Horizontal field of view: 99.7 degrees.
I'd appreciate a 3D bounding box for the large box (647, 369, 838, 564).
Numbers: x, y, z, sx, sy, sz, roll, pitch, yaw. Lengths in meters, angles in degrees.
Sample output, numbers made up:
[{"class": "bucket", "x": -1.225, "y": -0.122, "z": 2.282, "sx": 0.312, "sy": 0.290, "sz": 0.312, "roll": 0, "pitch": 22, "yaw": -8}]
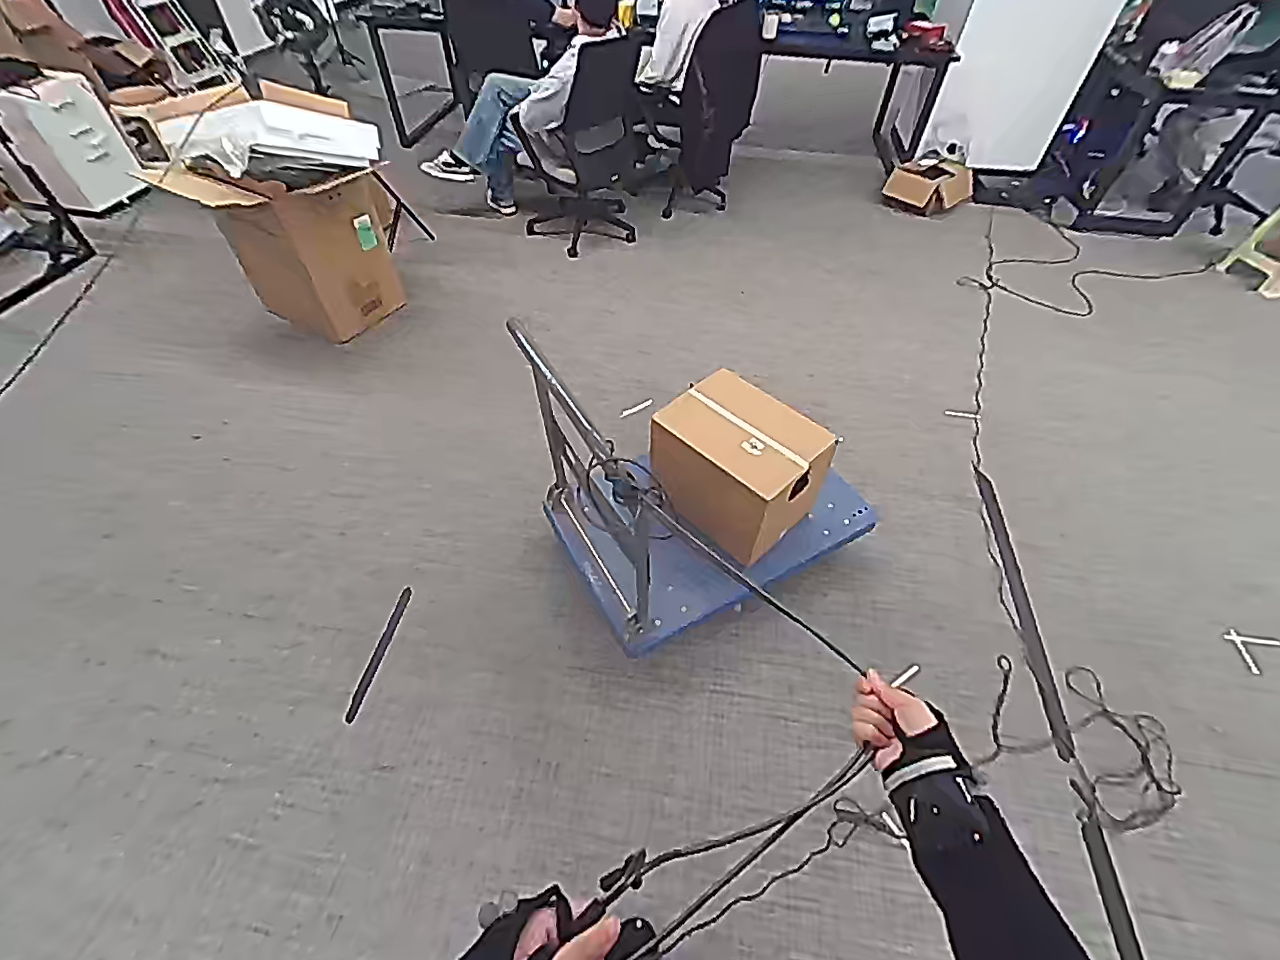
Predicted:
[{"class": "large box", "x": 0.268, "y": -0.044, "z": 1.543, "sx": 0.320, "sy": 0.320, "sz": 0.408, "roll": -37, "pitch": 61, "yaw": -26}]
